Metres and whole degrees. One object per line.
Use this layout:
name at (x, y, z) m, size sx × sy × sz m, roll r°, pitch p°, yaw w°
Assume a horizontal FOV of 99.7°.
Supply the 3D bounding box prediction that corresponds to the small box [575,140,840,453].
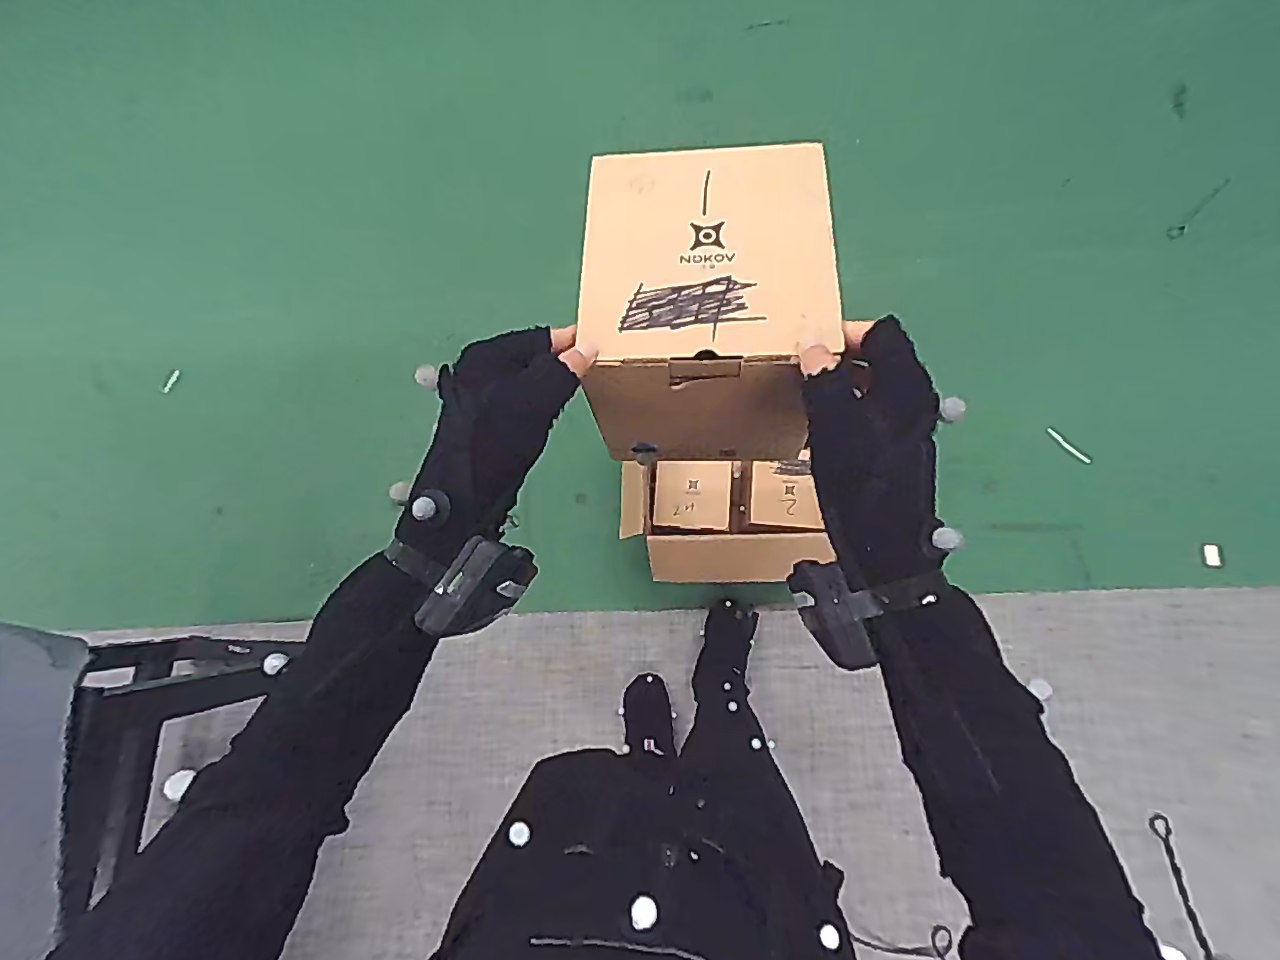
small box at (0.052, -0.128, 0.431) m, size 0.168 × 0.176 × 0.179 m, roll 1°, pitch 70°, yaw 6°
